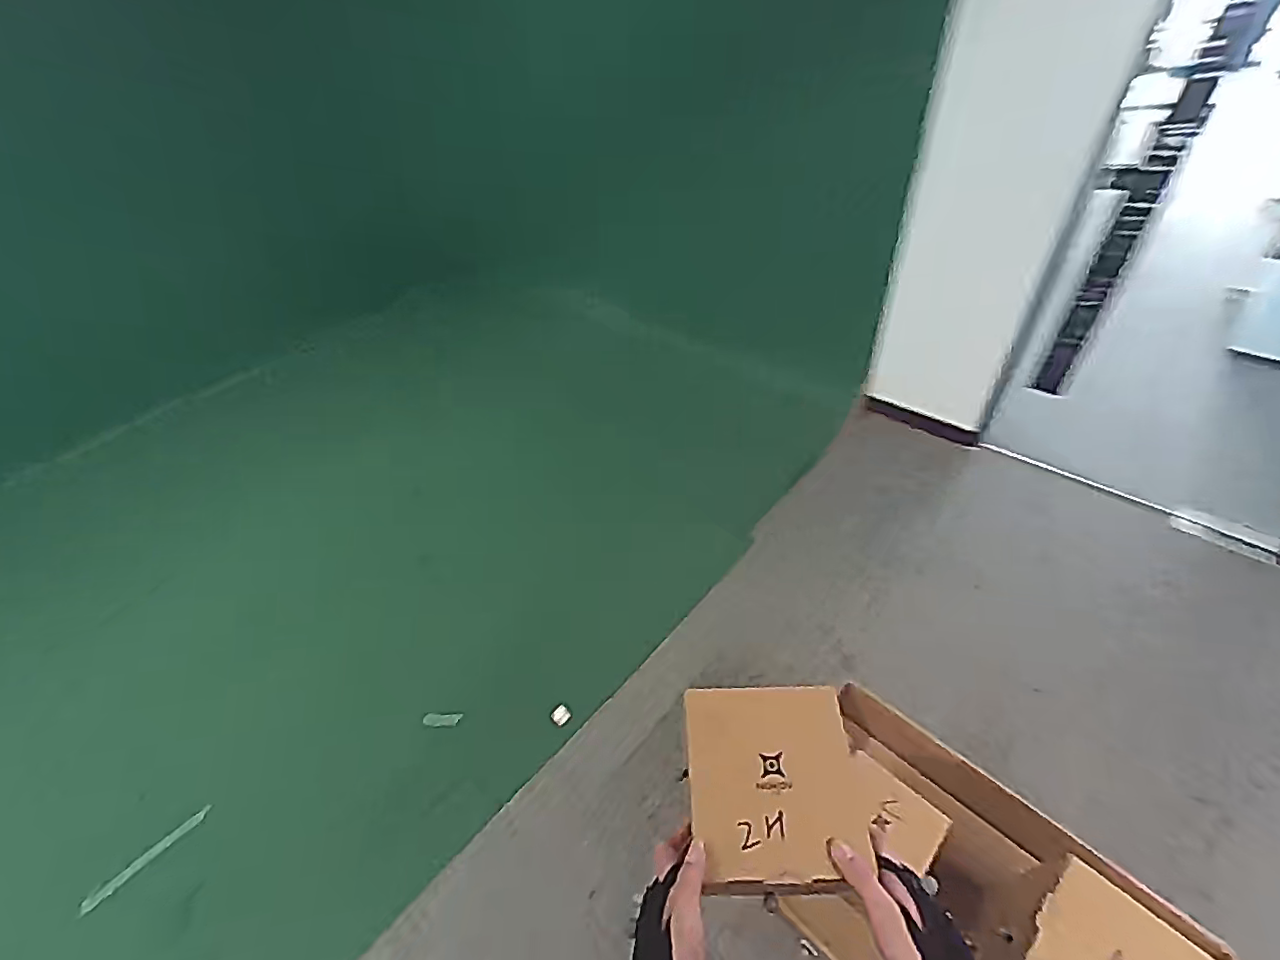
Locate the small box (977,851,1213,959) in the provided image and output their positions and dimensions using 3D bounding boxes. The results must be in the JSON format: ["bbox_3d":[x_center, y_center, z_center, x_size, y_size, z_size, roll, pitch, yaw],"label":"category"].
[{"bbox_3d":[0.565,0.619,0.677,0.168,0.176,0.179,-38,54,-24],"label":"small box"}]

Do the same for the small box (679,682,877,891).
[{"bbox_3d":[0.131,0.339,0.595,0.168,0.176,0.179,-2,51,1],"label":"small box"}]
